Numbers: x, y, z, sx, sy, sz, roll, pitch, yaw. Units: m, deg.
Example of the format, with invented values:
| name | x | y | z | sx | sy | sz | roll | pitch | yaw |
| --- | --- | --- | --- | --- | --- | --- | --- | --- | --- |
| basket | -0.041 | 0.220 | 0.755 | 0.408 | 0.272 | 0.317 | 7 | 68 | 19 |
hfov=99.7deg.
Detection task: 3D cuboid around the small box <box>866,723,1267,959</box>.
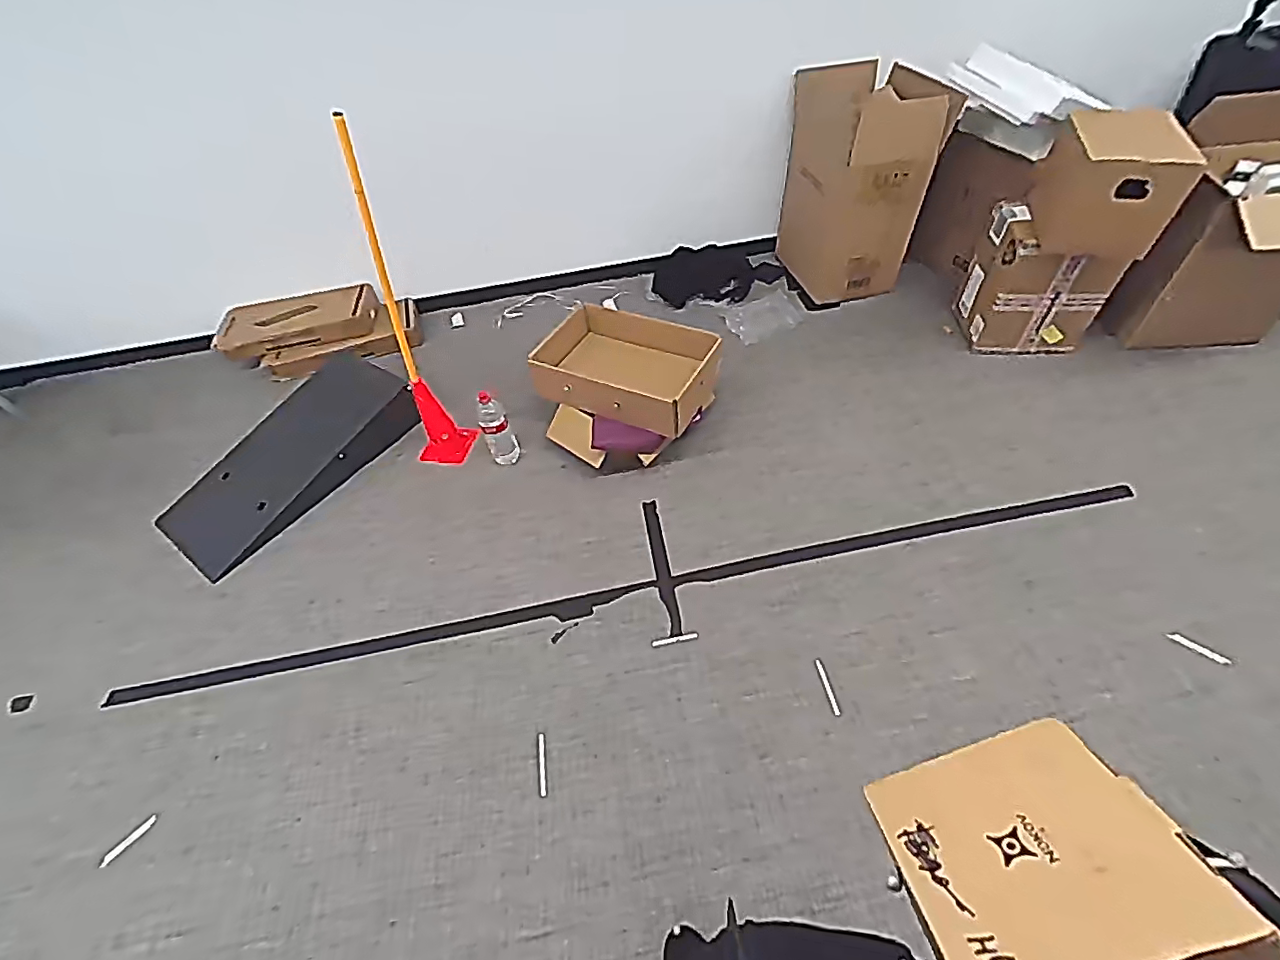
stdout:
| name | x | y | z | sx | sy | sz | roll | pitch | yaw |
| --- | --- | --- | --- | --- | --- | --- | --- | --- | --- |
| small box | 0.313 | 0.336 | 0.422 | 0.179 | 0.176 | 0.168 | -24 | 17 | 6 |
